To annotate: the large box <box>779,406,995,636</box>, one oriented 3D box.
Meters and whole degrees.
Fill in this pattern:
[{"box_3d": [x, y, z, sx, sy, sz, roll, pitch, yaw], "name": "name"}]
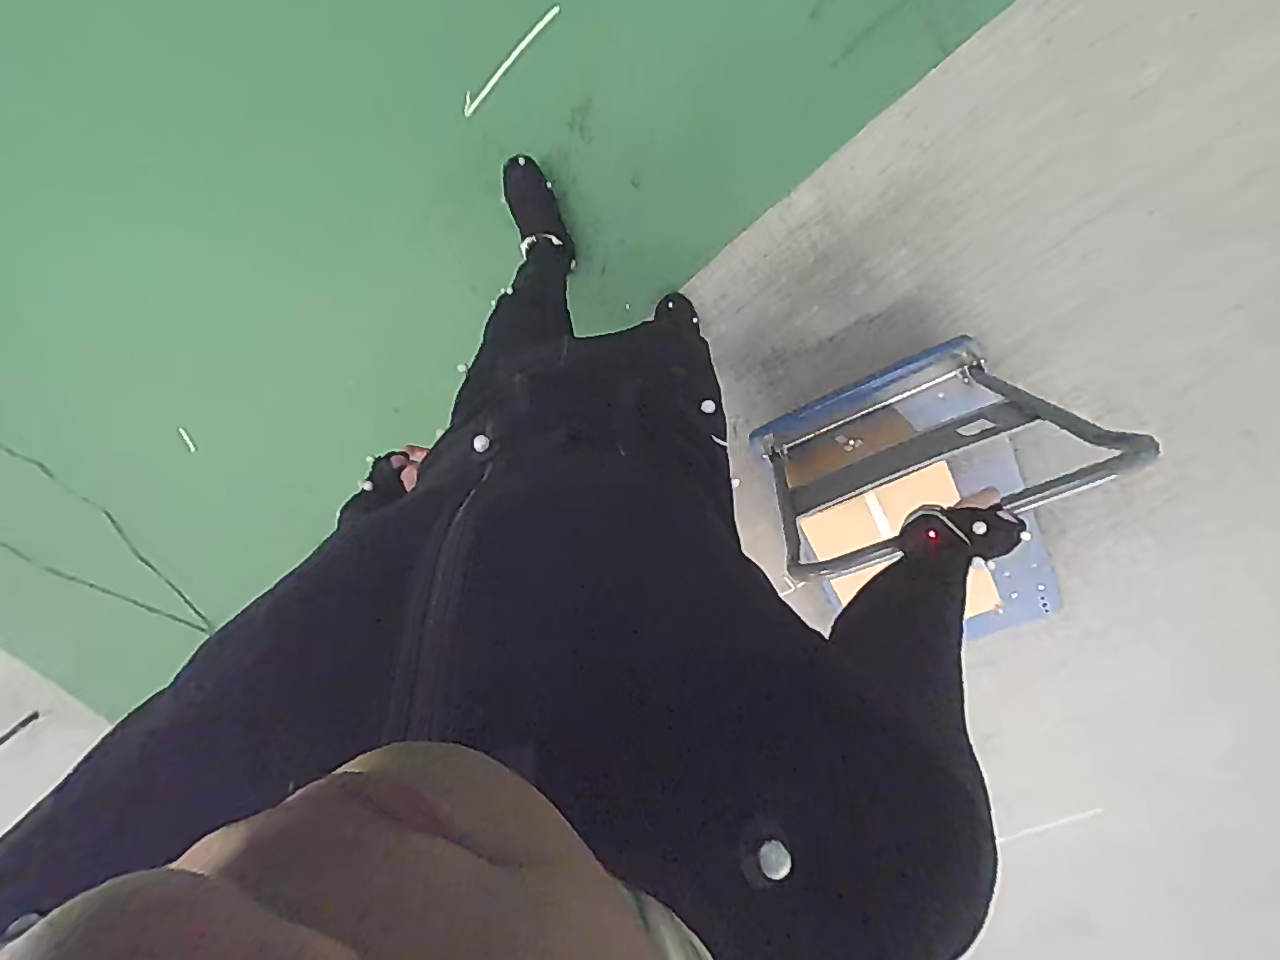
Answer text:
[{"box_3d": [0.582, 0.093, 1.328, 0.320, 0.320, 0.408, -26, 111, 18], "name": "large box"}]
